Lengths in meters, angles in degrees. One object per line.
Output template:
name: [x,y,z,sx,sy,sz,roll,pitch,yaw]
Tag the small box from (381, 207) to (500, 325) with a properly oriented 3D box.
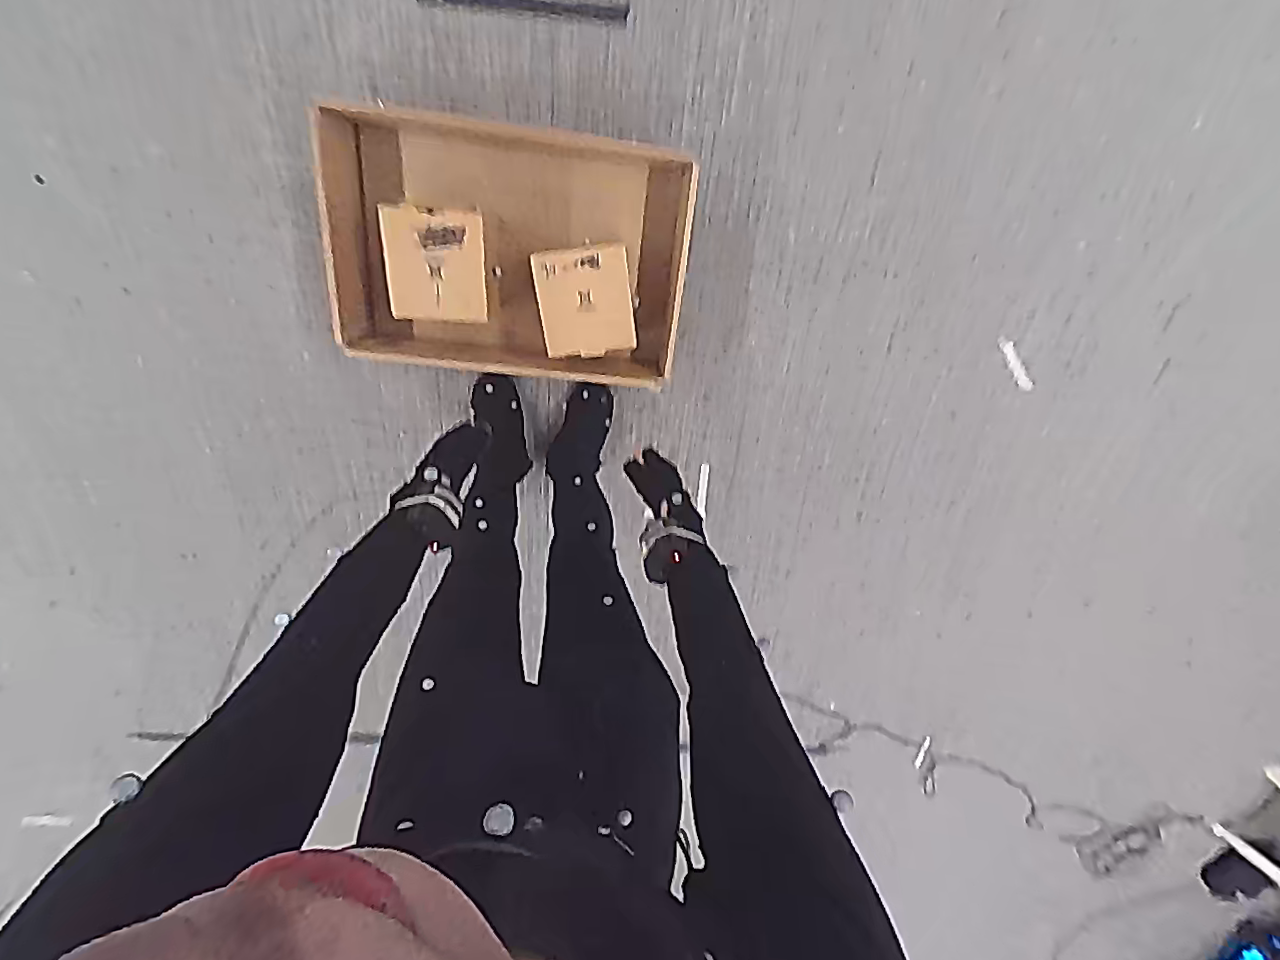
small box: [-0.350,-0.388,0.980,0.168,0.176,0.179,2,115,-6]
